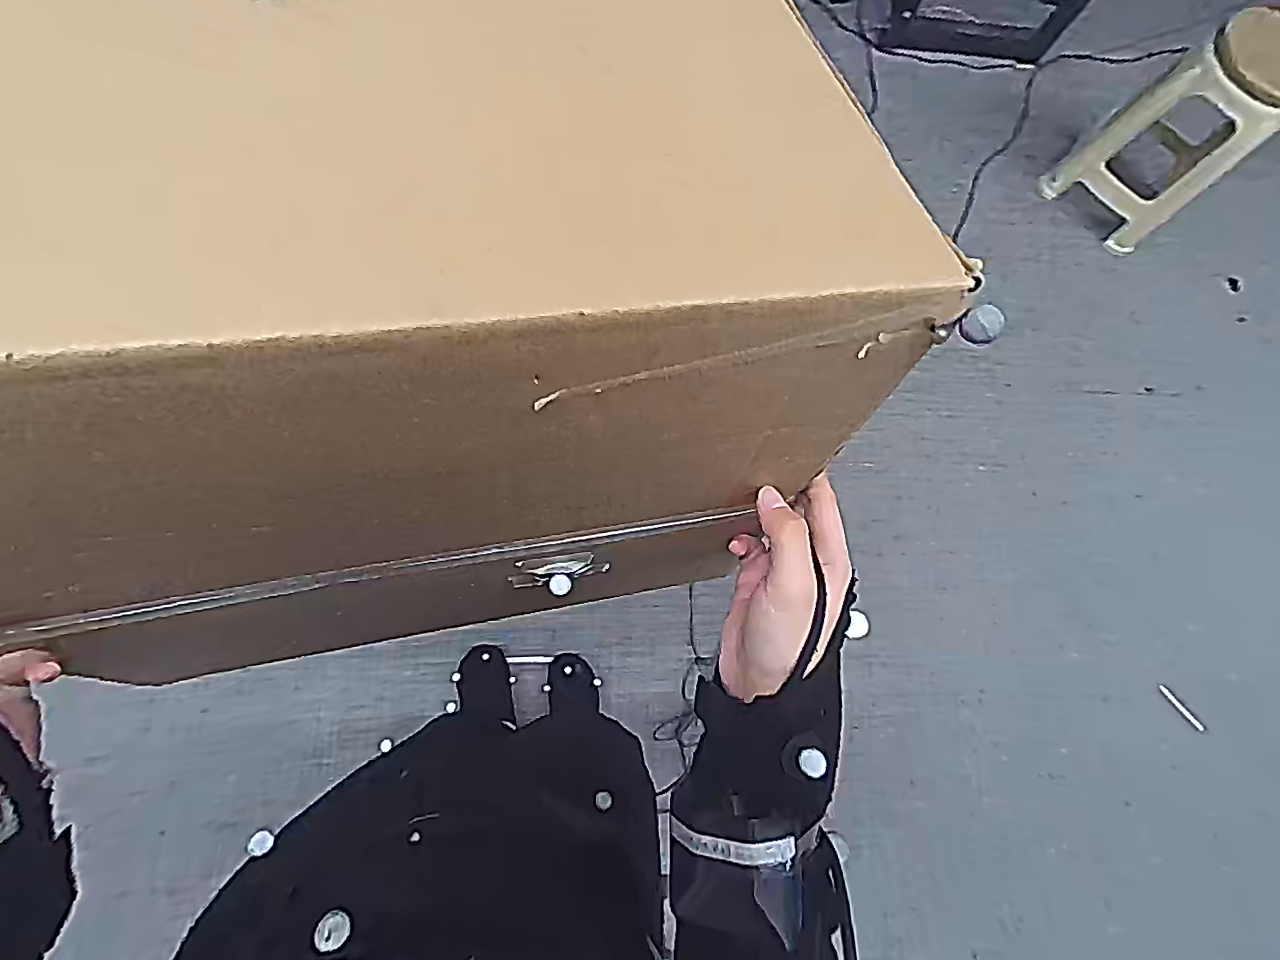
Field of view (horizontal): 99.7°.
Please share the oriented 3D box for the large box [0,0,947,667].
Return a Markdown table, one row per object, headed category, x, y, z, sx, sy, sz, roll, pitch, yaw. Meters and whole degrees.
| category | x | y | z | sx | sy | sz | roll | pitch | yaw |
| --- | --- | --- | --- | --- | --- | --- | --- | --- | --- |
| large box | -0.146 | -0.110 | 0.324 | 0.408 | 0.320 | 0.320 | -10 | 66 | -12 |
